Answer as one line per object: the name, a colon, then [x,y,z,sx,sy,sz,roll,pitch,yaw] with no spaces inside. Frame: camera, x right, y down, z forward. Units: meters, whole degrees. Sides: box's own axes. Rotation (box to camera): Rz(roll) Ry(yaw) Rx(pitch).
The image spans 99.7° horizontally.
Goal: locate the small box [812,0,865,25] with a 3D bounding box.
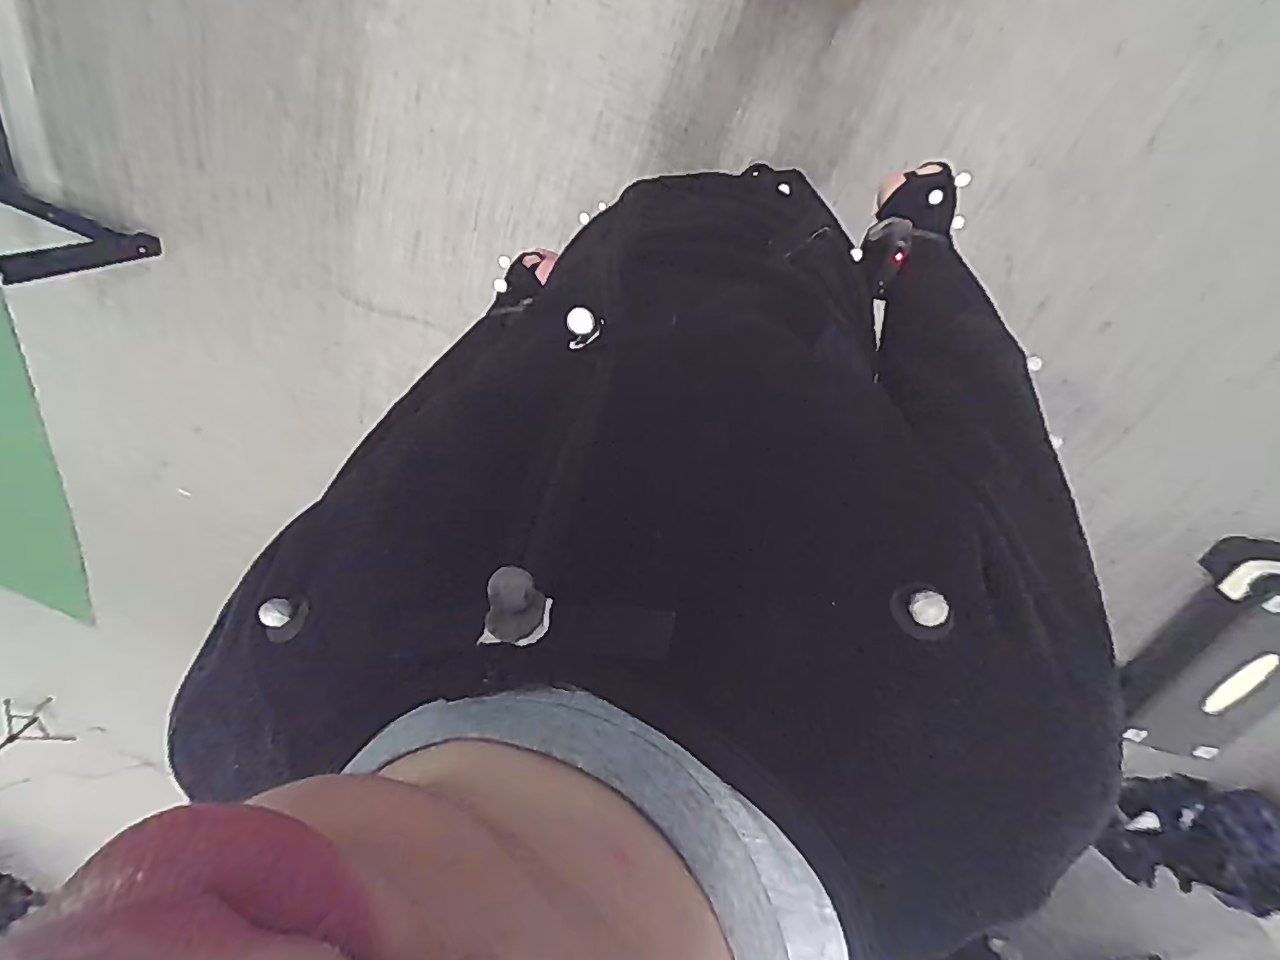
small box: [0.382,-0.982,0.979,0.168,0.176,0.179,34,123,-7]
